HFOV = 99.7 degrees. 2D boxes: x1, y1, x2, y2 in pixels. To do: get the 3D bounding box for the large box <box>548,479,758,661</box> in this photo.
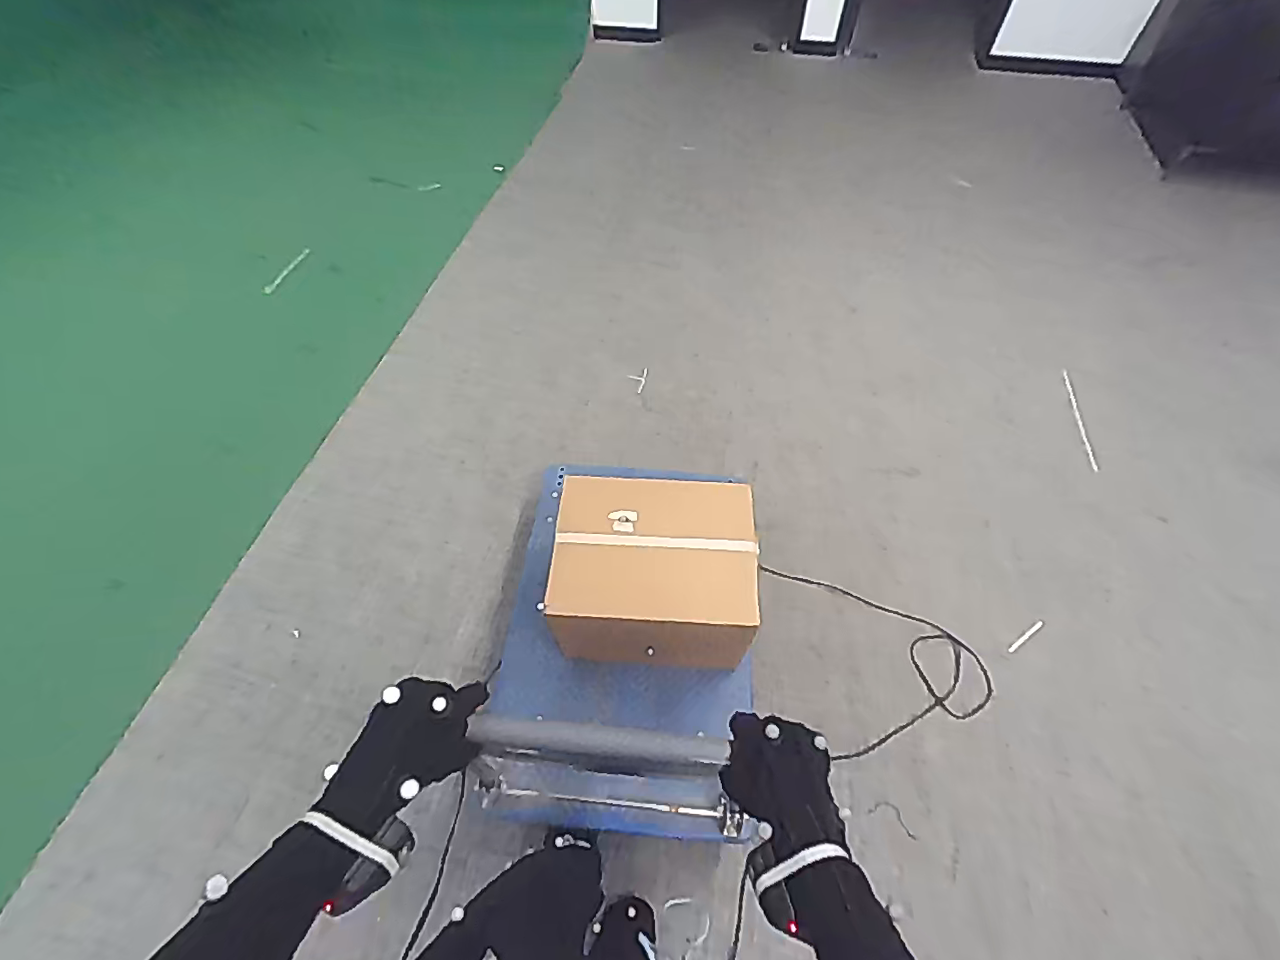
[{"bbox_3d":[0.036,0.211,1.220,0.408,0.320,0.320,2,56,4],"label":"large box"}]
